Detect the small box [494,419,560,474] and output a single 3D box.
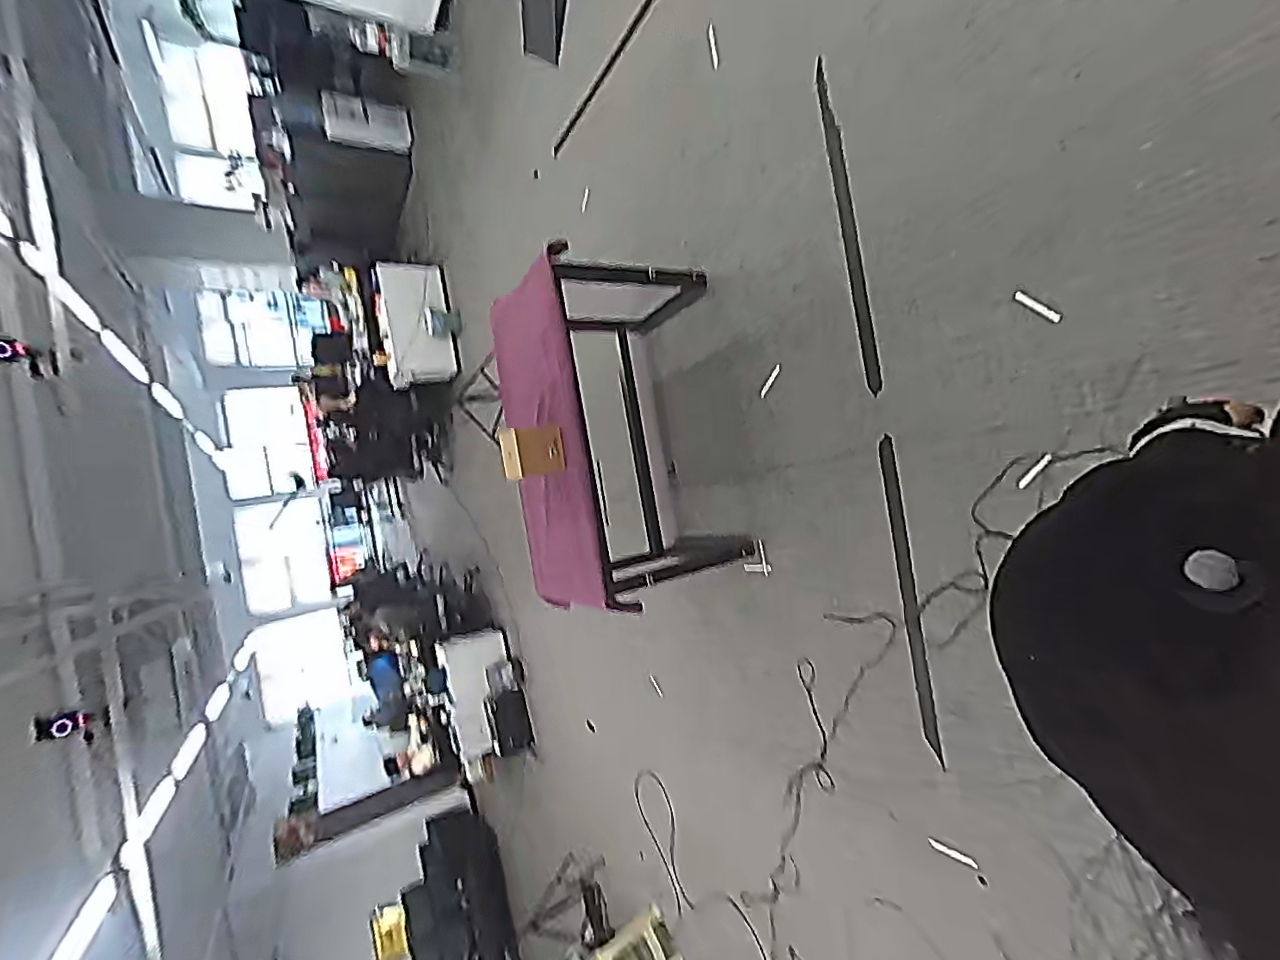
[{"bbox_3d":[-0.397,-0.116,1.900,0.179,0.176,0.168,-6,95,57],"label":"small box"}]
